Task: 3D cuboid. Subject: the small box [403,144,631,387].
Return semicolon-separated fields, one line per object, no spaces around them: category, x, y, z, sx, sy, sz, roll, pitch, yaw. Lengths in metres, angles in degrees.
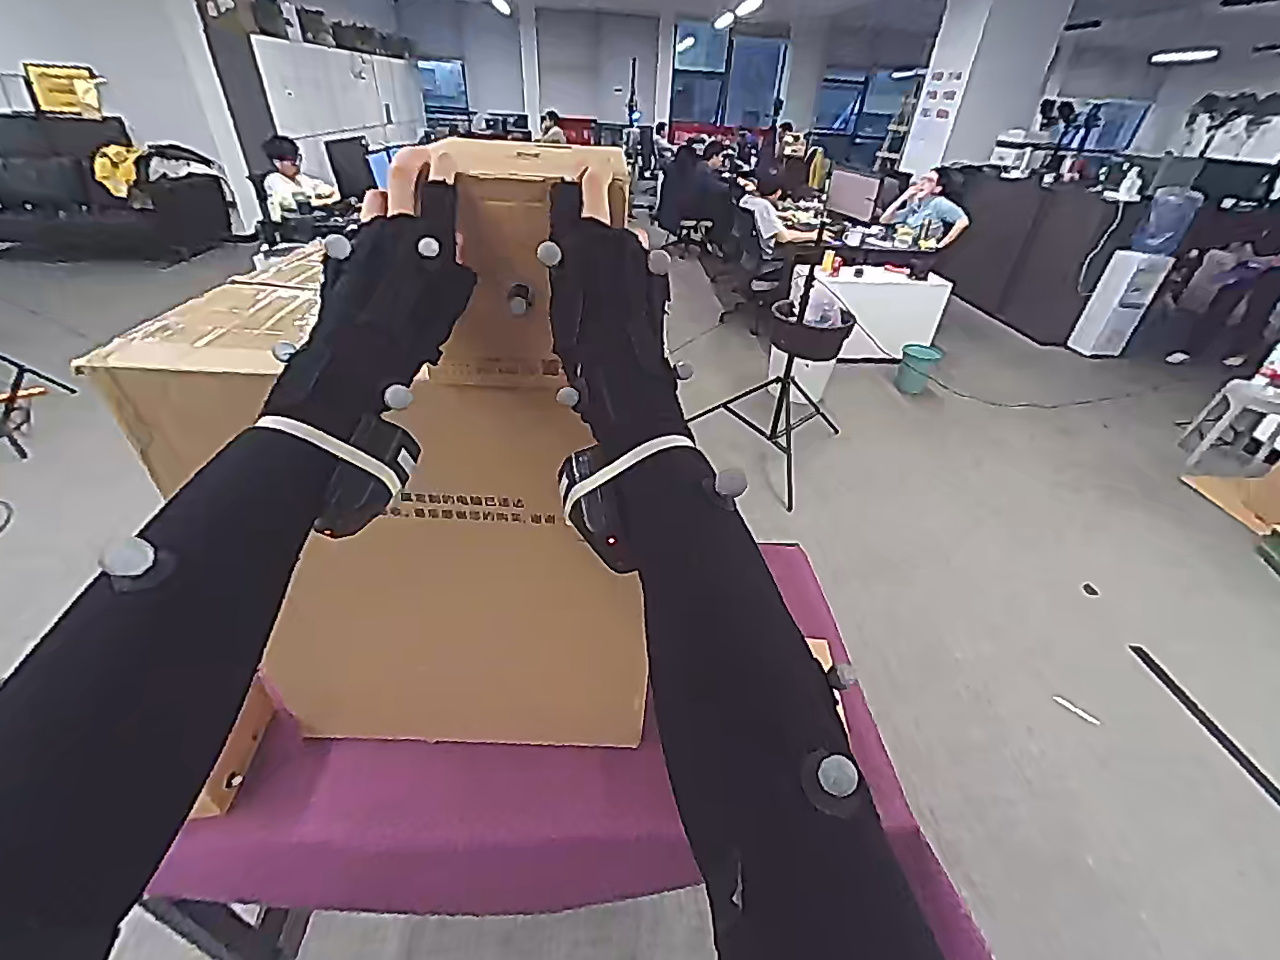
small box;-0.093;-0.196;0.495;0.168;0.176;0.179;0;38;-5
